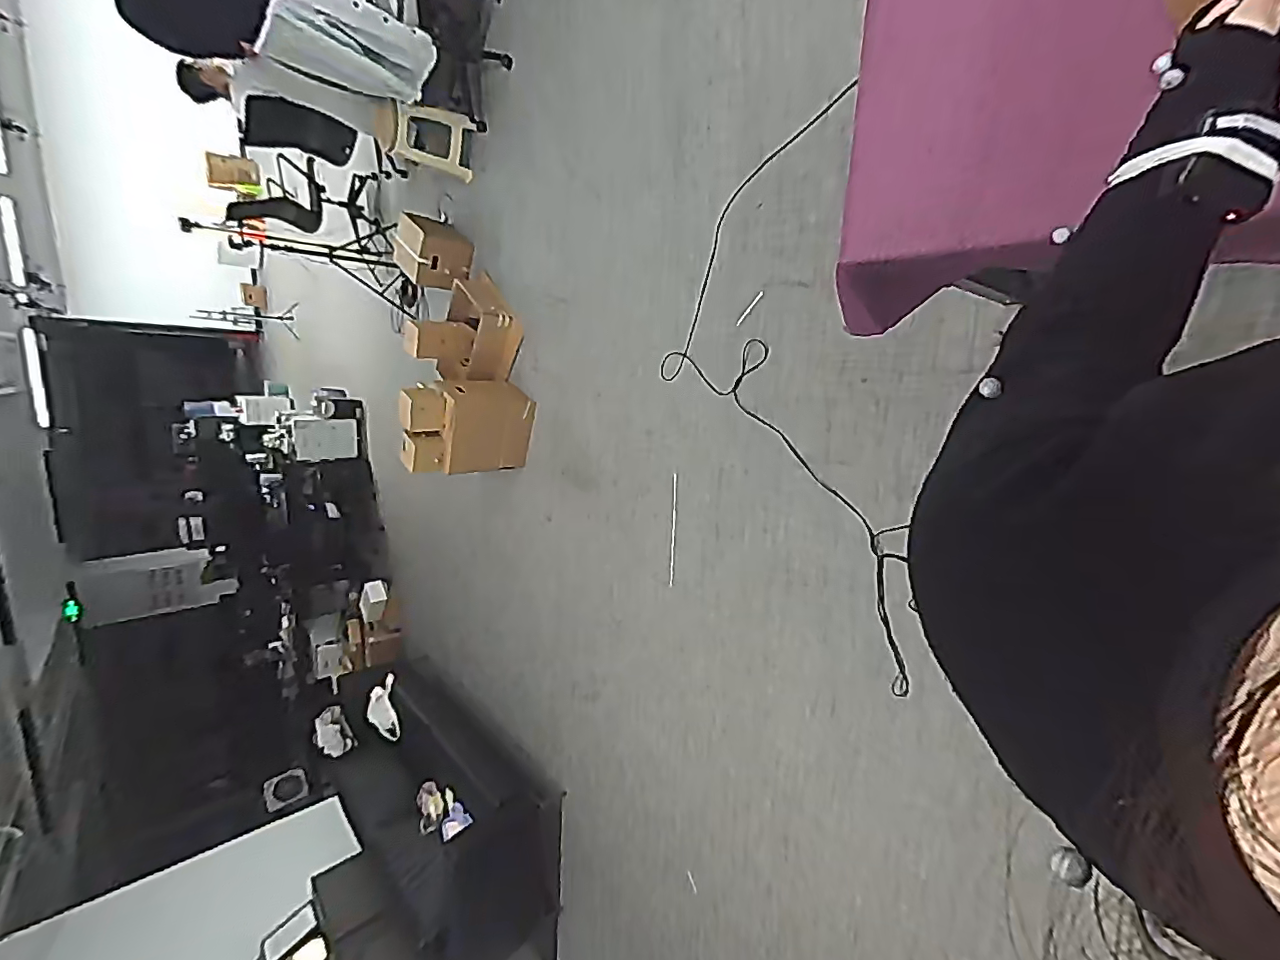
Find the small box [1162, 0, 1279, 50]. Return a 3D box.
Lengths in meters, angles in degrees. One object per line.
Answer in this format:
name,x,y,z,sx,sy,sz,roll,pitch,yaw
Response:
small box,0.529,-0.486,0.414,0.168,0.176,0.179,19,110,48
